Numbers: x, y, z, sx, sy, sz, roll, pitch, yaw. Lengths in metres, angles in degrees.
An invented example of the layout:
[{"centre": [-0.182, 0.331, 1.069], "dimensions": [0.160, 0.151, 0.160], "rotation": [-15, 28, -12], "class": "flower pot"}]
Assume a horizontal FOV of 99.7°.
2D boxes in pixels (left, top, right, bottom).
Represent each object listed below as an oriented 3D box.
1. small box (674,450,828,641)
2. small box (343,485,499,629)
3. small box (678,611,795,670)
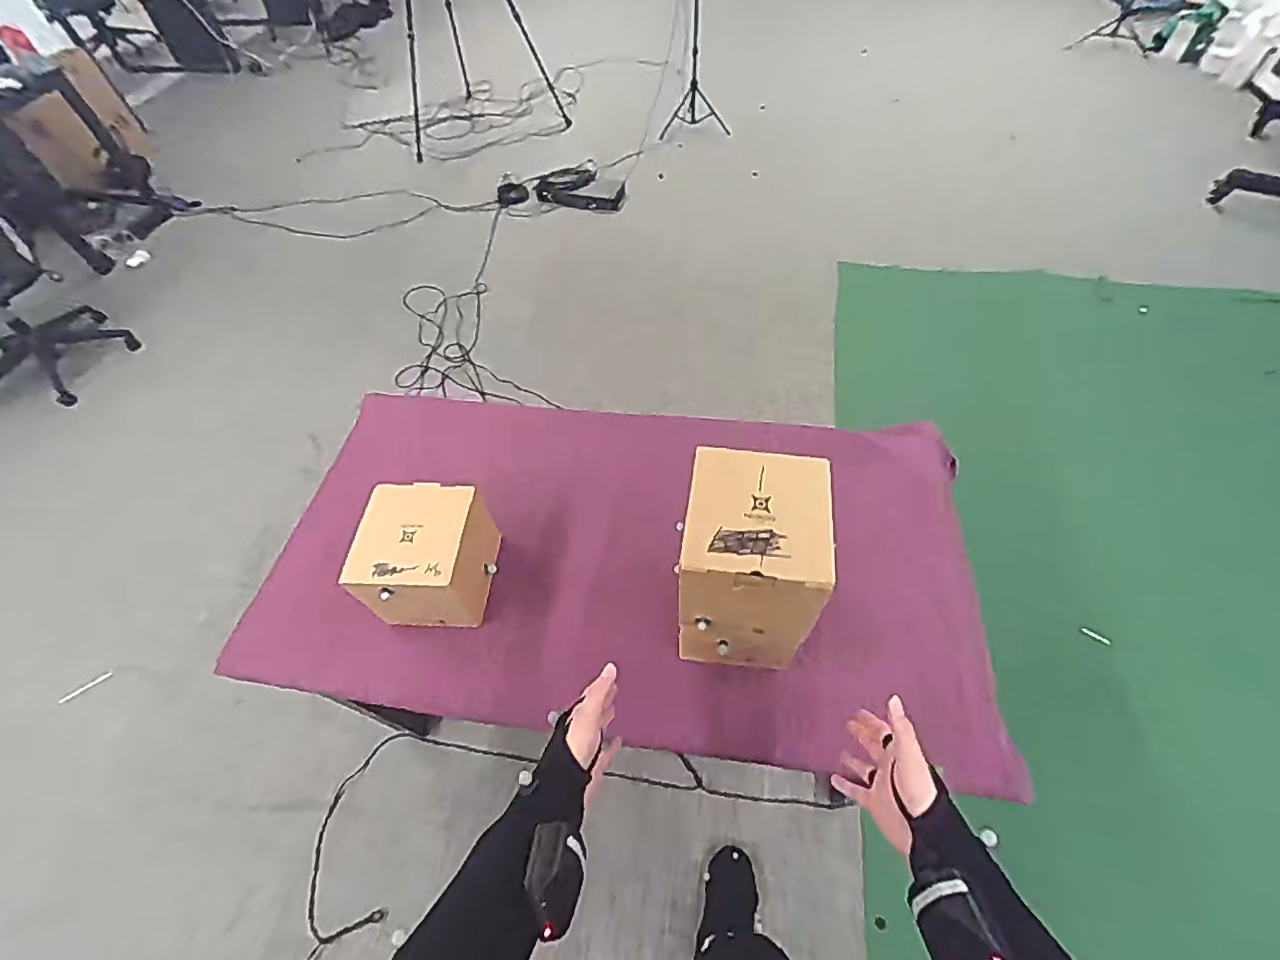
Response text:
[{"centre": [0.138, 0.087, 0.689], "dimensions": [0.168, 0.176, 0.179], "rotation": [7, 54, 8], "class": "small box"}, {"centre": [-0.343, 0.128, 0.890], "dimensions": [0.168, 0.176, 0.179], "rotation": [1, 55, 4], "class": "small box"}, {"centre": [0.149, 0.177, 0.828], "dimensions": [0.168, 0.176, 0.179], "rotation": [4, 54, 7], "class": "small box"}]
